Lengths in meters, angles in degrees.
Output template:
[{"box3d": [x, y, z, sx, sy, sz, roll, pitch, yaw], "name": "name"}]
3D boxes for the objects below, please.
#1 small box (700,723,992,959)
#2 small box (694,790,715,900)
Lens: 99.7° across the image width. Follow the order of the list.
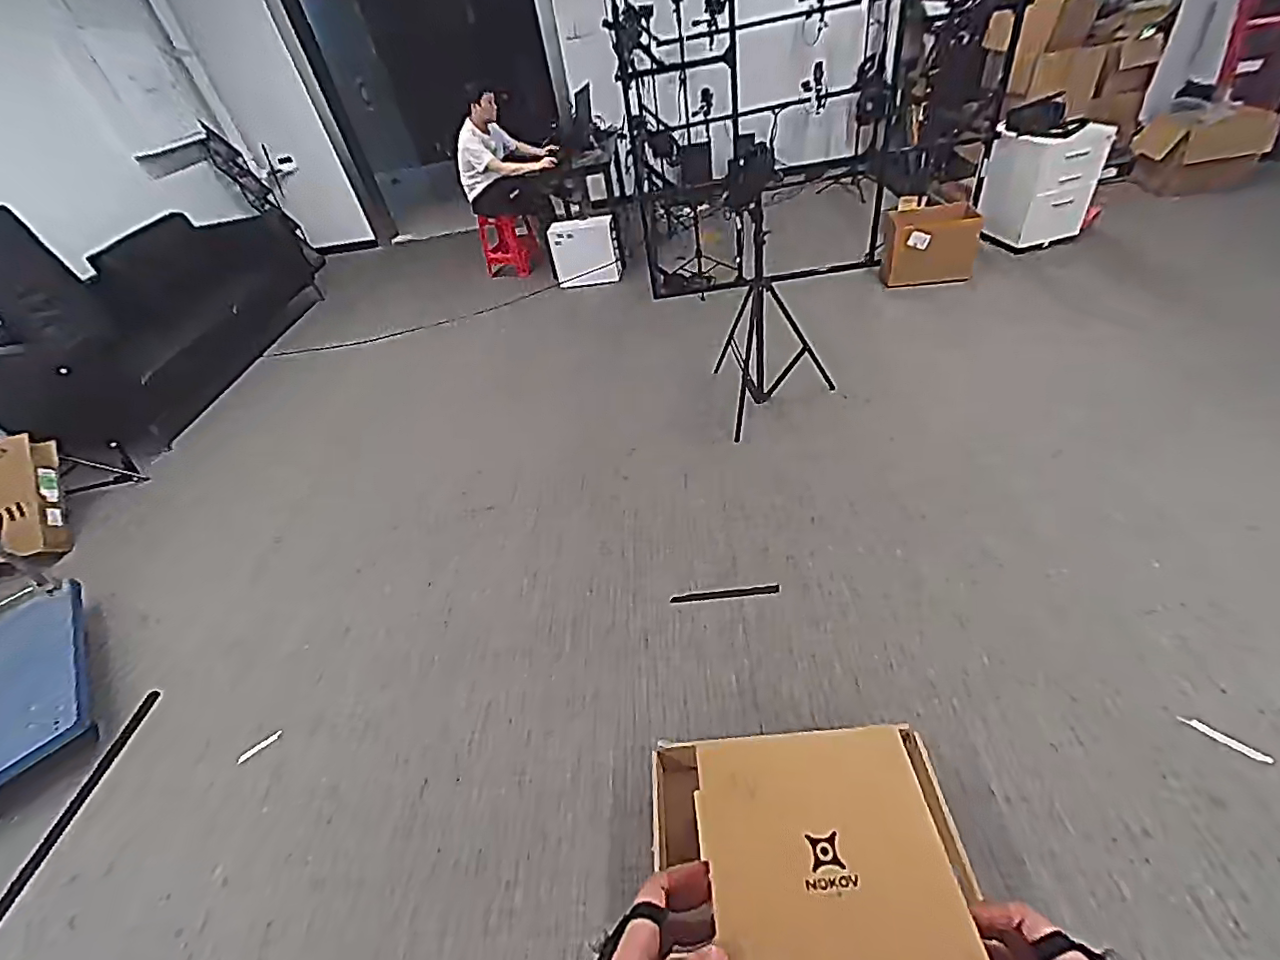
[{"box3d": [0.142, 0.323, 0.430, 0.168, 0.176, 0.179, -8, 41, 3], "name": "small box"}, {"box3d": [0.213, 0.792, 1.174, 0.168, 0.176, 0.179, -7, 41, 3], "name": "small box"}]
